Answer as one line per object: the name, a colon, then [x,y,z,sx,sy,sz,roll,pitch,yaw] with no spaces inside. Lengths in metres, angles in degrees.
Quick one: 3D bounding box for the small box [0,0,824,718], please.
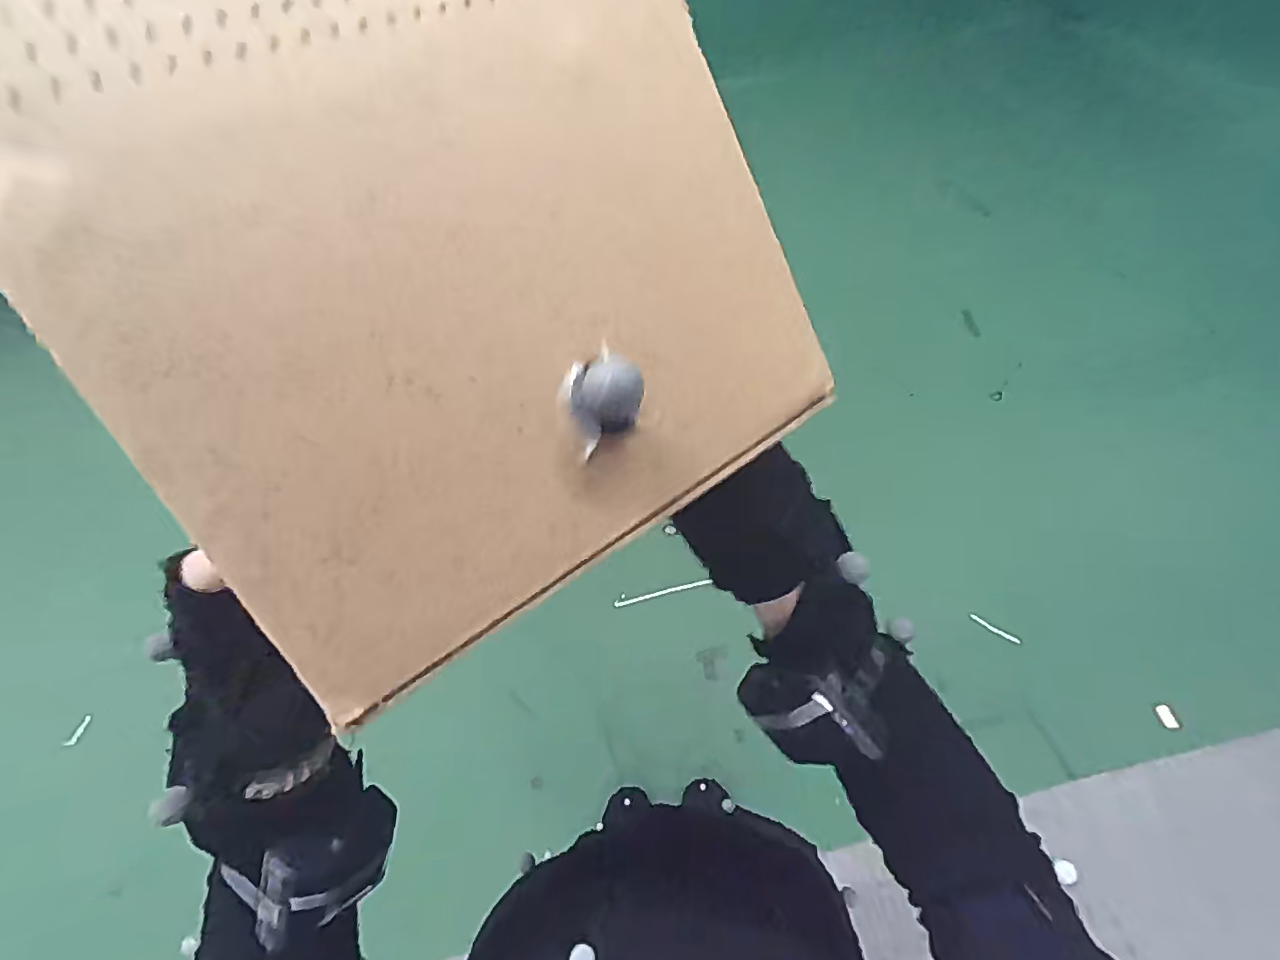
small box: [-0.073,-0.058,0.210,0.179,0.168,0.176,-33,105,-18]
